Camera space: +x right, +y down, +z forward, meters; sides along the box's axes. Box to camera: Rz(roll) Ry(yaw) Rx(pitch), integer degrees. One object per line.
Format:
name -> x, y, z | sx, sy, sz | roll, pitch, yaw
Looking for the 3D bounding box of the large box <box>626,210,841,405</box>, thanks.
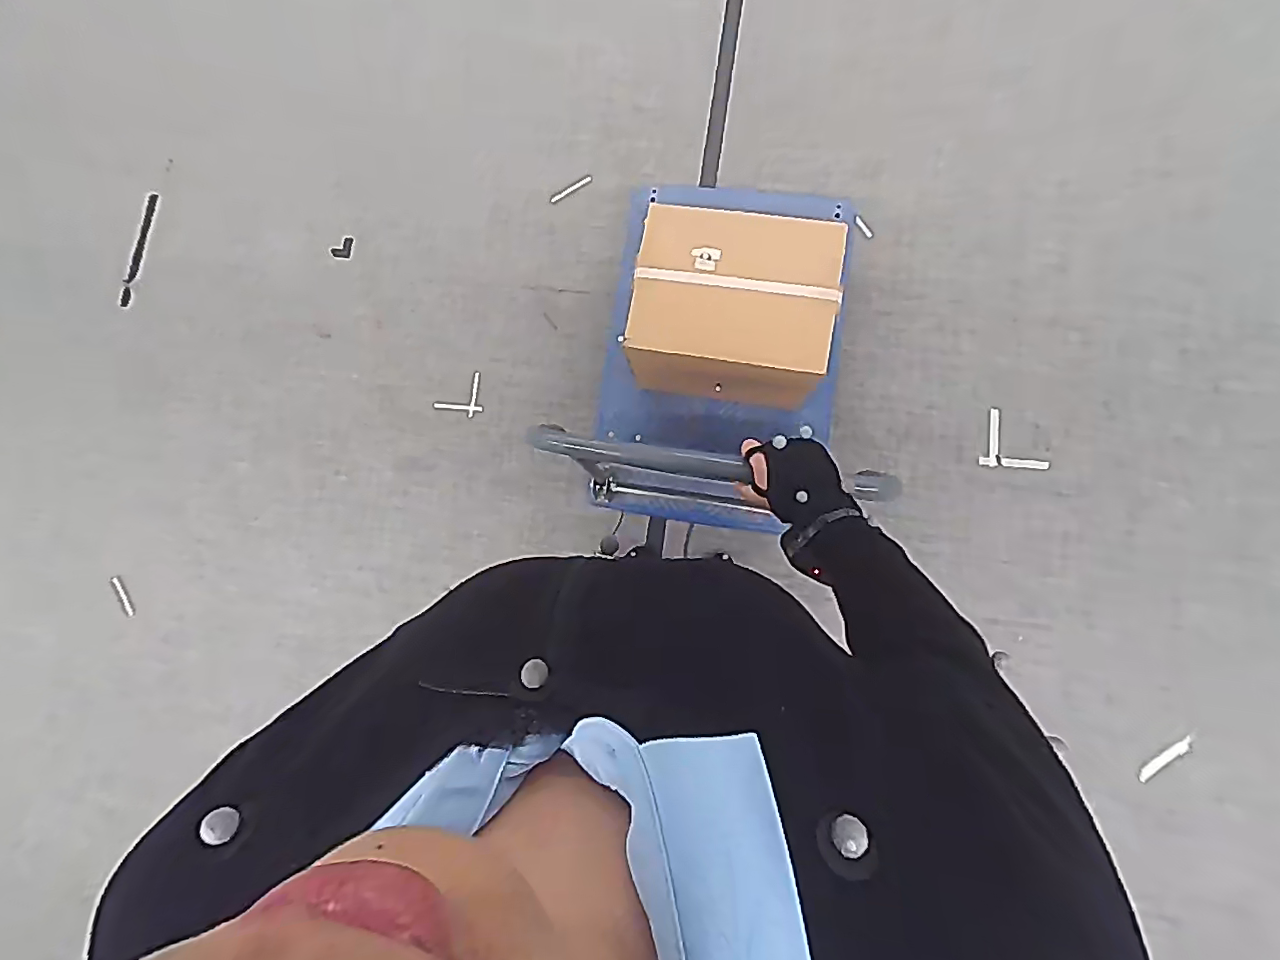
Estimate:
large box -> 0.208, -0.375, 1.242 | 0.408, 0.320, 0.320 | 9, 84, 8
